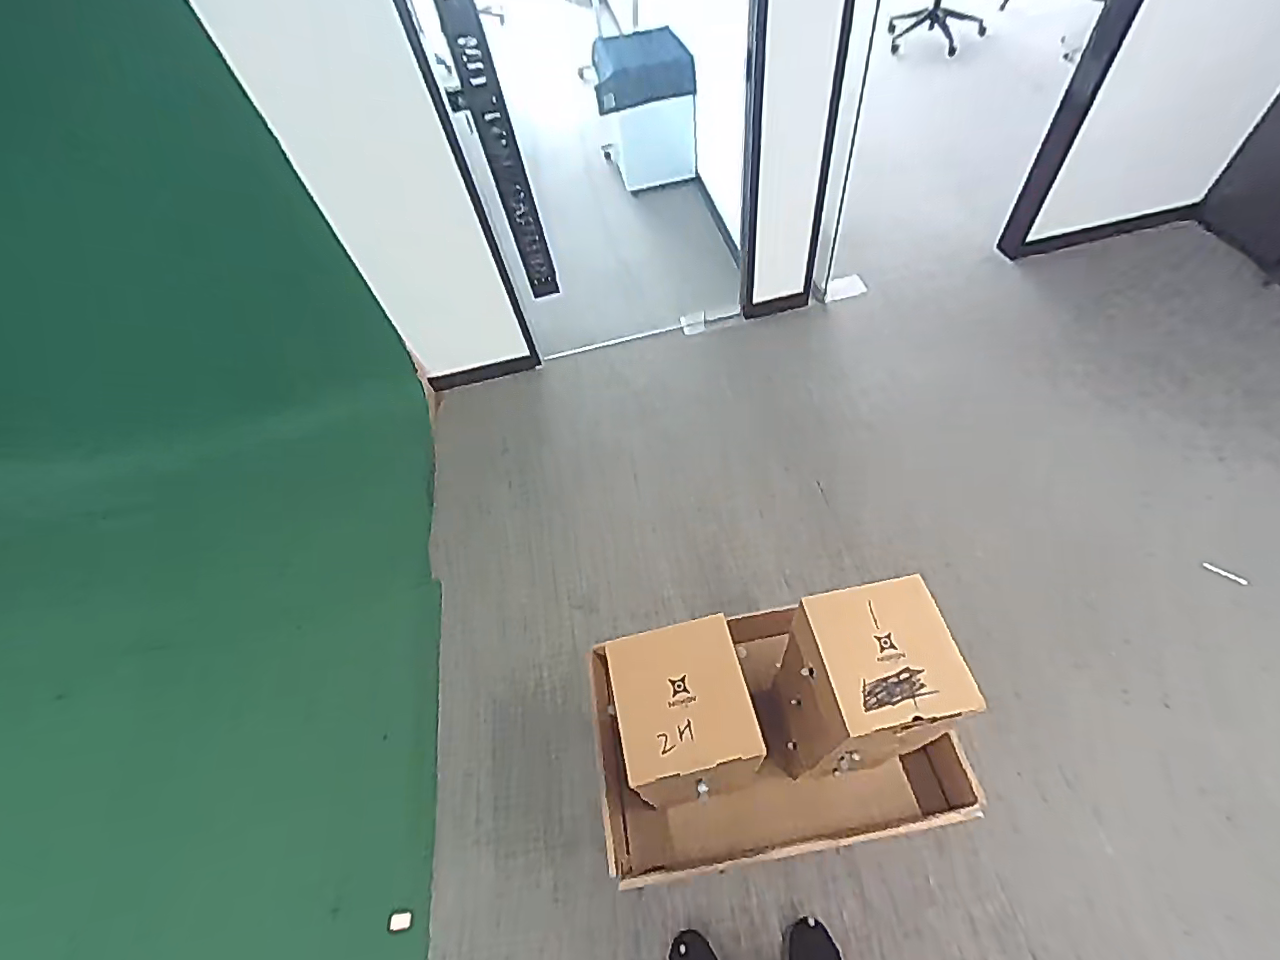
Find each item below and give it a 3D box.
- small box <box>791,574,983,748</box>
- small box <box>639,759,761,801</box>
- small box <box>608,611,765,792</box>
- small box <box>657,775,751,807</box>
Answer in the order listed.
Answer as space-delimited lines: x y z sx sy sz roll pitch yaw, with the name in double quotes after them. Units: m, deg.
0.316 0.253 0.735 0.168 0.176 0.179 -11 54 1 "small box"
0.079 0.403 0.871 0.179 0.176 0.168 -13 55 -2 "small box"
0.060 0.306 0.737 0.168 0.176 0.179 -13 56 0 "small box"
0.097 0.495 1.005 0.179 0.176 0.168 -11 55 -1 "small box"
